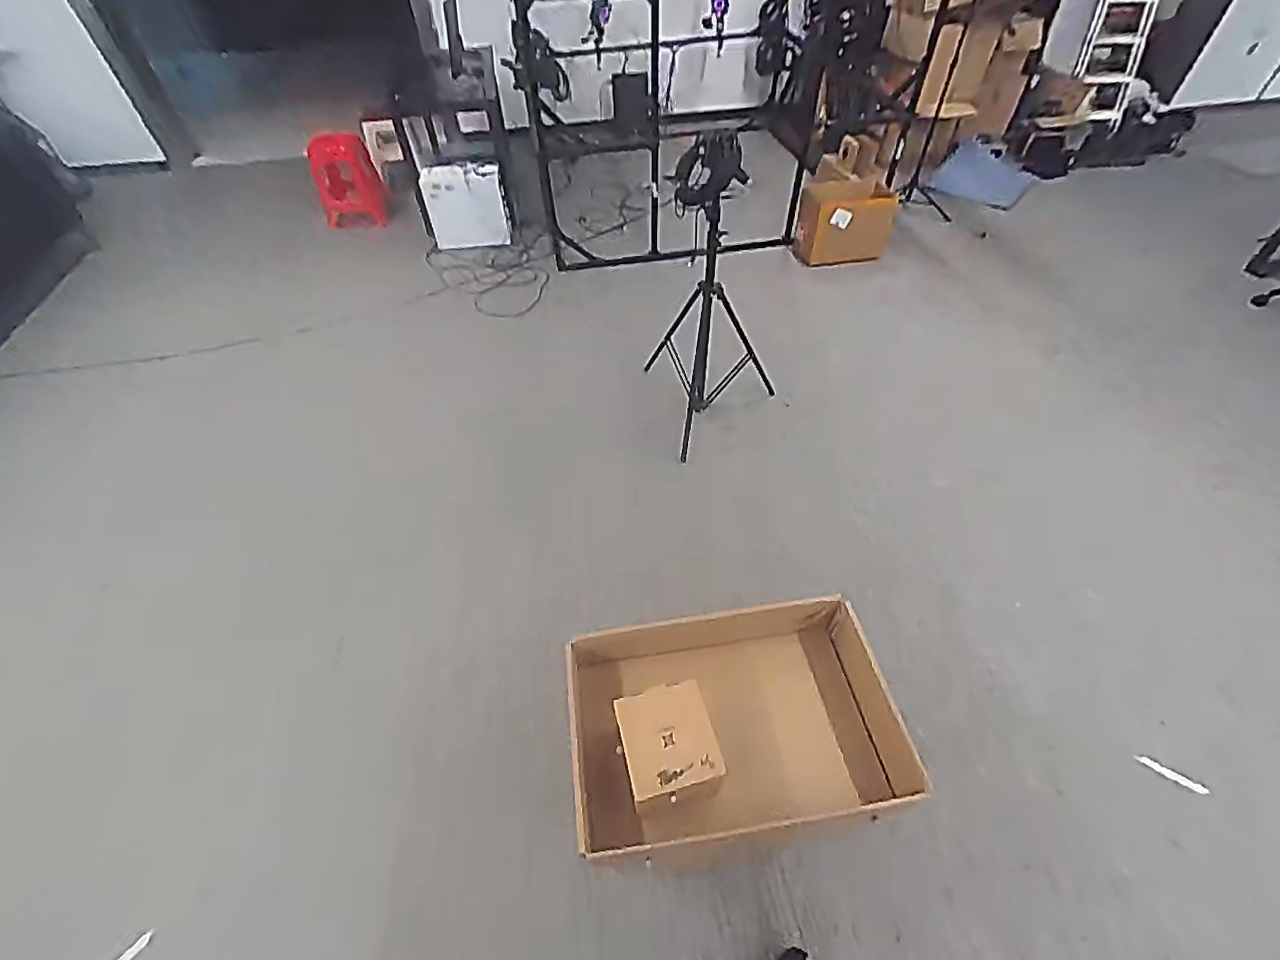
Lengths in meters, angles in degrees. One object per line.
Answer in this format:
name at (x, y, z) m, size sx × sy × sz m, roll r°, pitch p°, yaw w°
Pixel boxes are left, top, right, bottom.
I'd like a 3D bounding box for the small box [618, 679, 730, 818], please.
small box at (0.057, 0.513, 1.031) m, size 0.168 × 0.176 × 0.179 m, roll -13°, pitch 50°, yaw -8°
